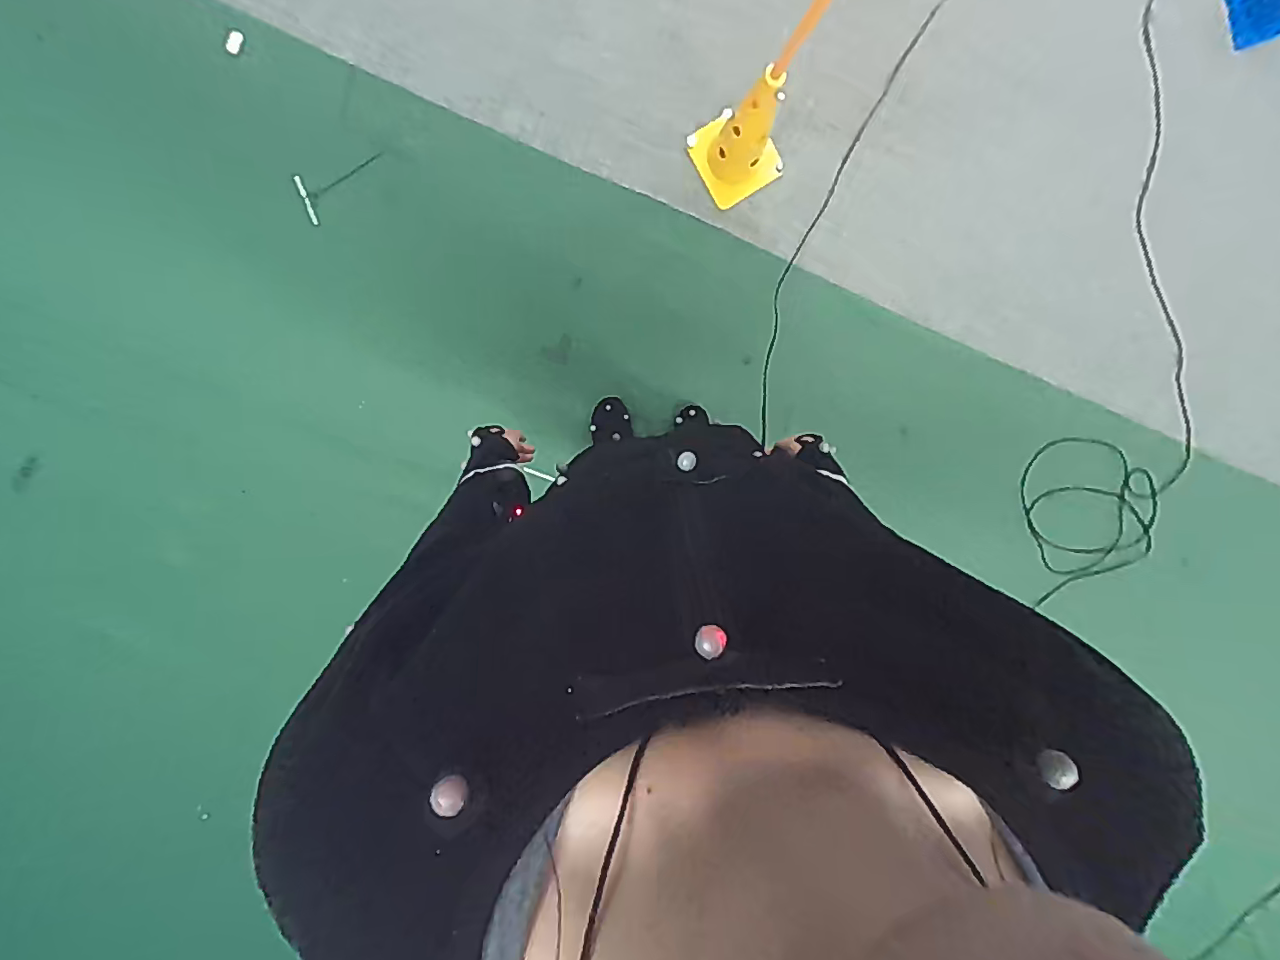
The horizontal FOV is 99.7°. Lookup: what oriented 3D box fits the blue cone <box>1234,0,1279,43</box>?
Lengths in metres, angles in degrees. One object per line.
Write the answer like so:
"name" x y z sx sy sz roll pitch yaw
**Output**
"blue cone" 1.626 -1.227 1.224 0.193 0.380 0.192 -24 98 -2
